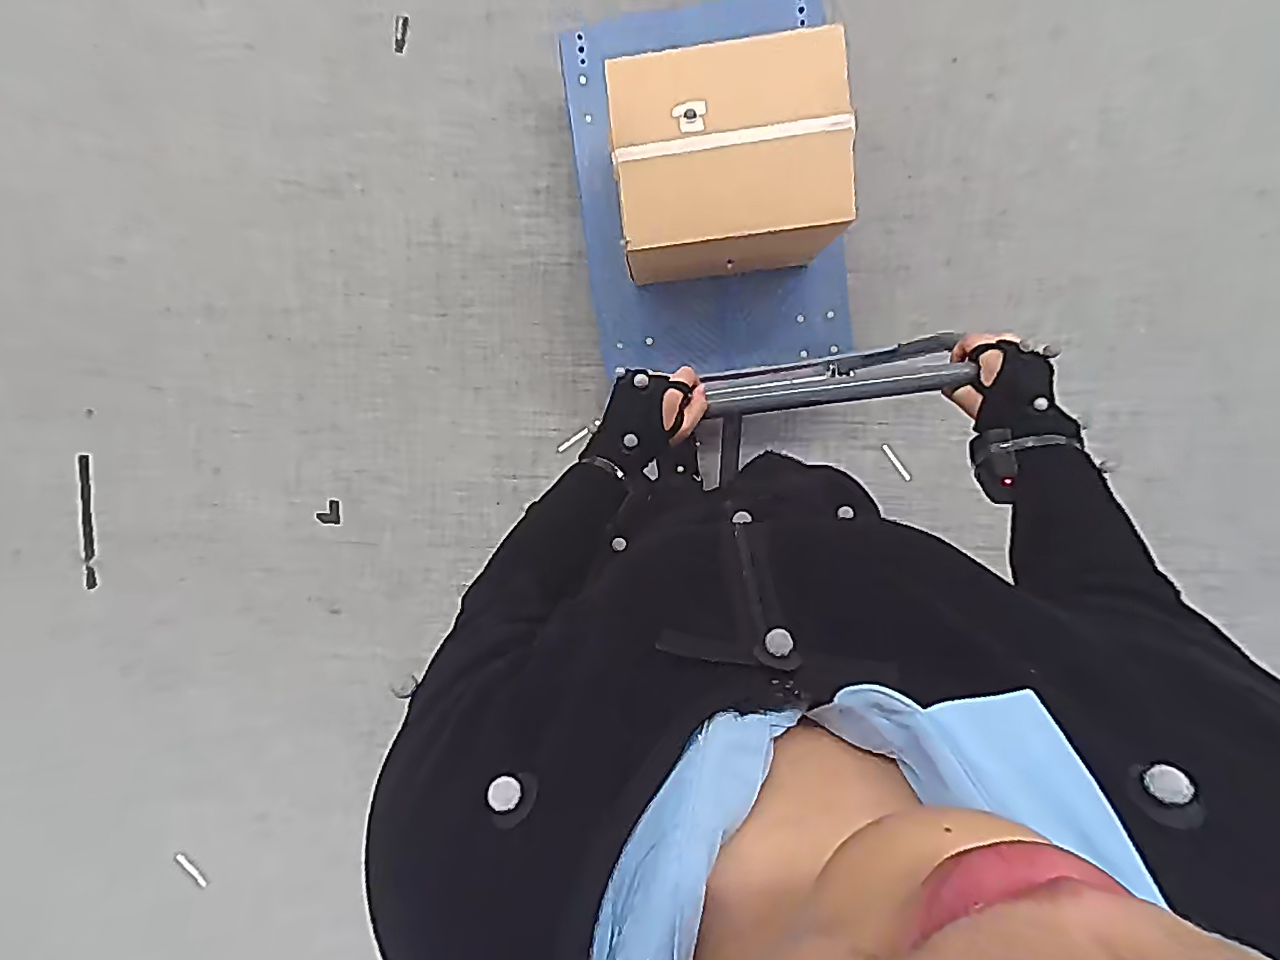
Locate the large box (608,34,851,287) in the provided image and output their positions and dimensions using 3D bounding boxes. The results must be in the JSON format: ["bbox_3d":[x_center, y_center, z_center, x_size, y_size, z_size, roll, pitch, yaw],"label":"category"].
[{"bbox_3d":[0.168,-0.603,1.096,0.408,0.320,0.320,-6,97,4],"label":"large box"}]
